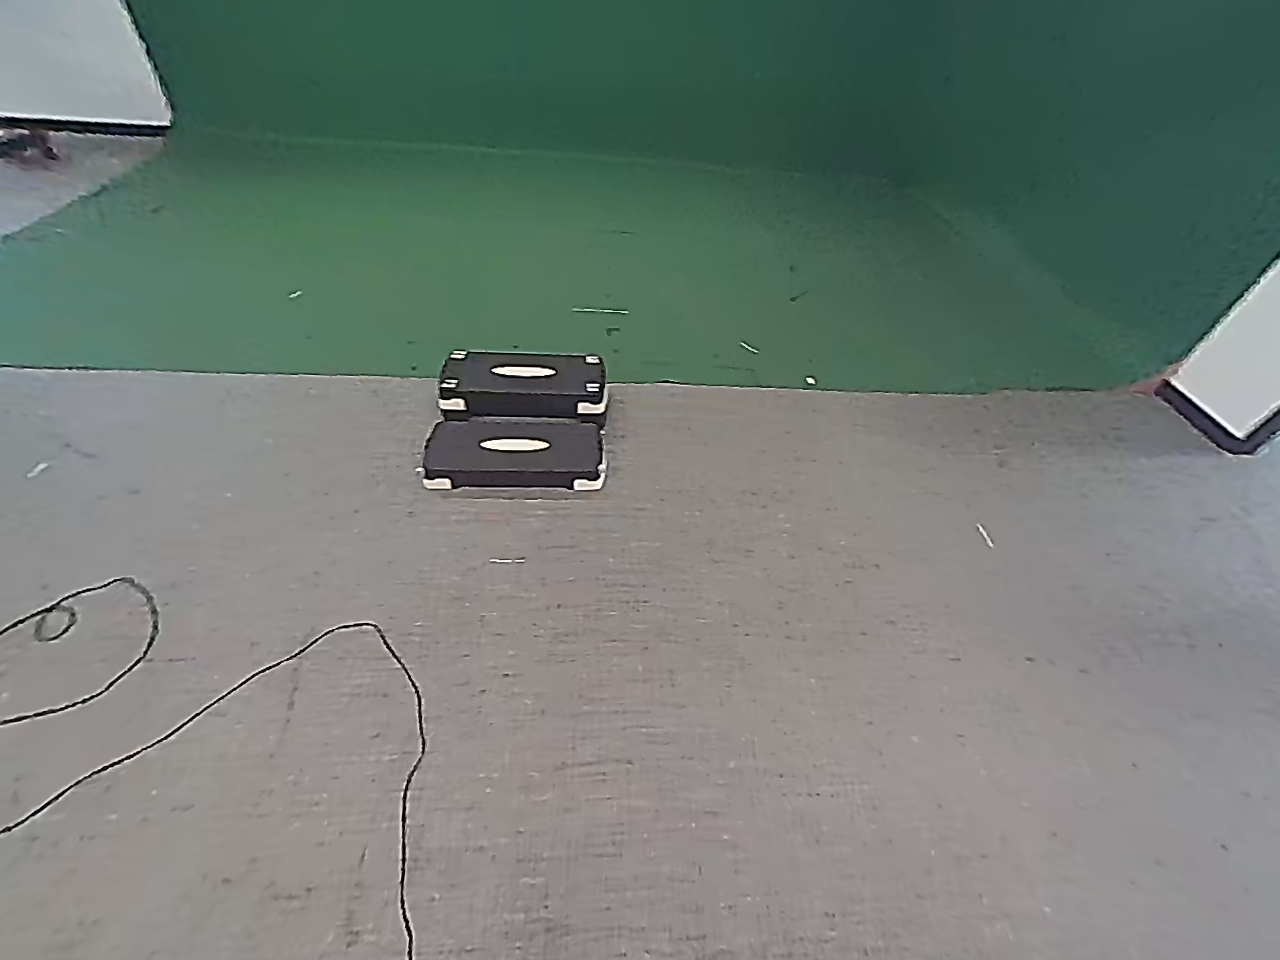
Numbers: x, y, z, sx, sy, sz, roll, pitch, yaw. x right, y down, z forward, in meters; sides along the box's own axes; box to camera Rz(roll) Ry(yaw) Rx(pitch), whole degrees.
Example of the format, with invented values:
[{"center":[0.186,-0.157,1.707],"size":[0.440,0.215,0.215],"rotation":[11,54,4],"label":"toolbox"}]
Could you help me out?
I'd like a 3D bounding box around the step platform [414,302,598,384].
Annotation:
[{"center":[-0.510,-0.538,2.140],"size":[0.684,0.204,0.286],"rotation":[0,47,-5],"label":"step platform"}]
